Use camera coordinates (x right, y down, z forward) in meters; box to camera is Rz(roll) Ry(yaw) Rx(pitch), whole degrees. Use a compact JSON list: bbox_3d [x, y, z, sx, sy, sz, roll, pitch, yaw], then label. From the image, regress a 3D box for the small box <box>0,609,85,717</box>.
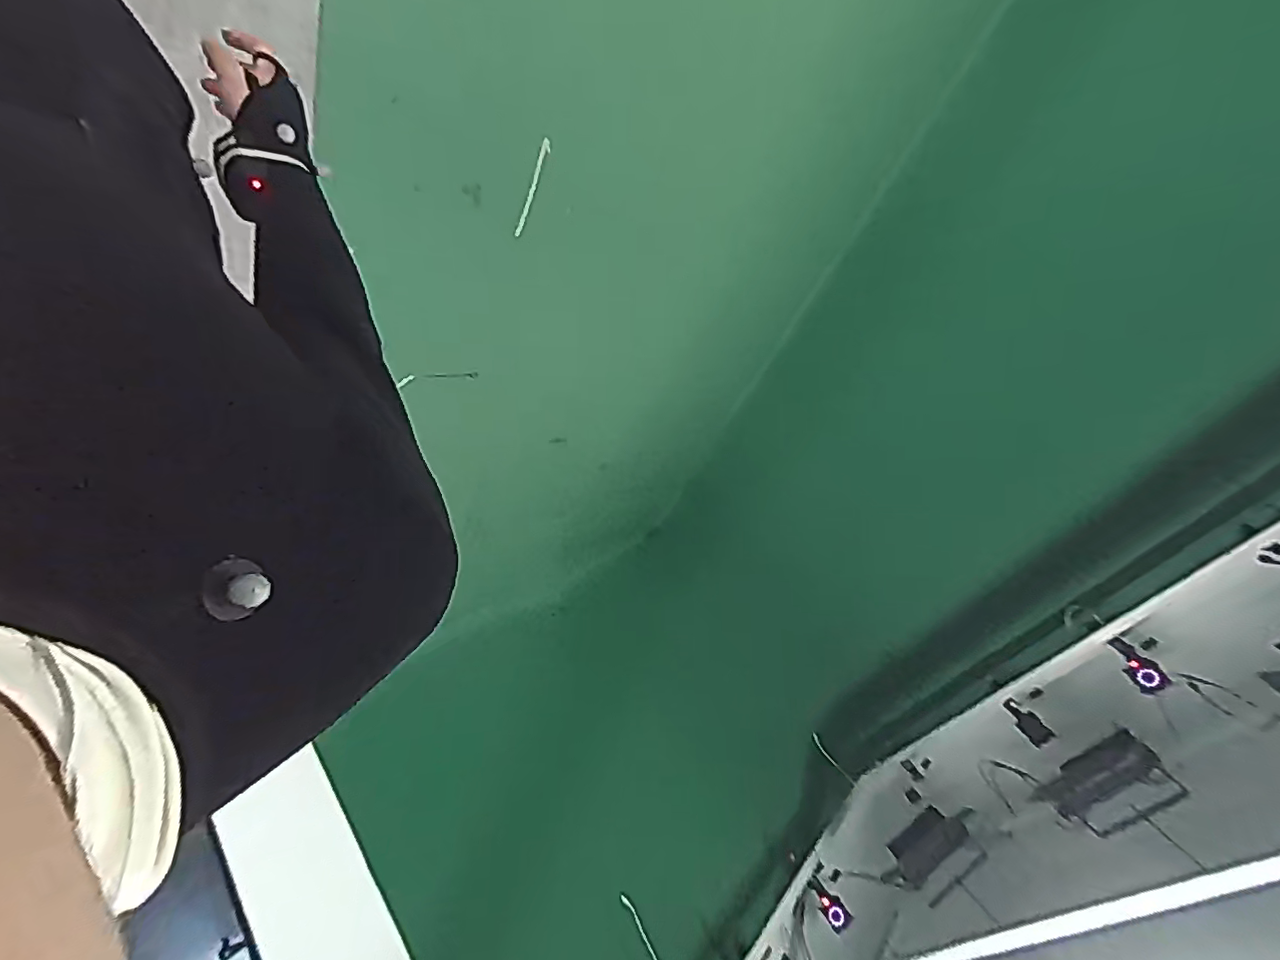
[{"bbox_3d":[-1.497,0.437,1.321,0.168,0.176,0.179,-14,144,-50],"label":"small box"}]
